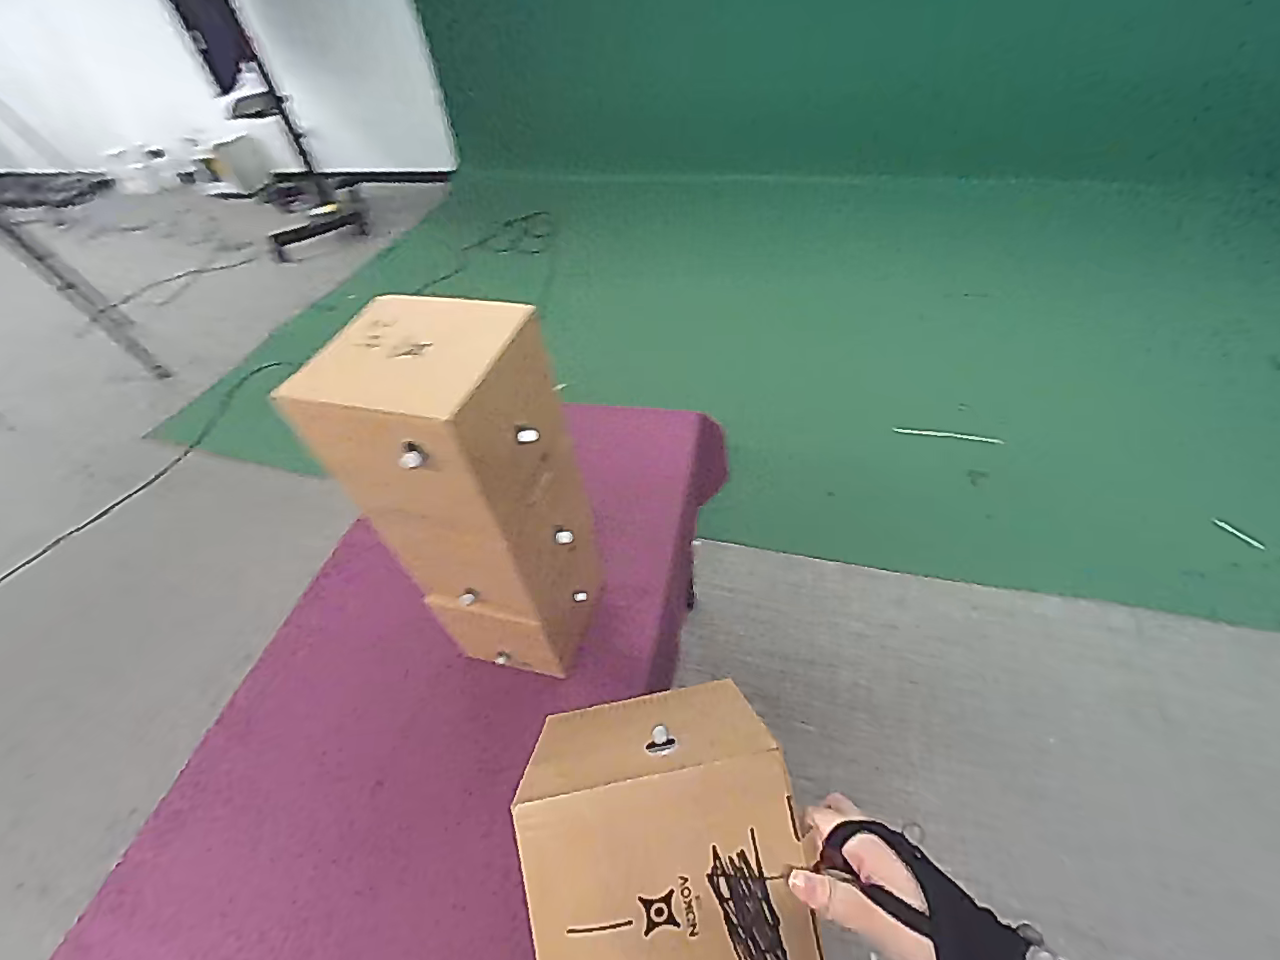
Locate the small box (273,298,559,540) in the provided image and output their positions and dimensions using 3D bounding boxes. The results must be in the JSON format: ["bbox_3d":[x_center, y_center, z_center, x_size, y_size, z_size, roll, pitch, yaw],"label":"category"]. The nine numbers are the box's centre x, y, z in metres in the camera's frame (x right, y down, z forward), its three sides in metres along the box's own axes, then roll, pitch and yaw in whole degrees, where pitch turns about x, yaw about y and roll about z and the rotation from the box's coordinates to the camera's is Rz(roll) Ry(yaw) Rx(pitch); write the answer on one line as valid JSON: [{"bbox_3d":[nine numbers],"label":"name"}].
[{"bbox_3d":[-0.199,-0.059,0.543,0.179,0.176,0.168,8,50,15],"label":"small box"}]

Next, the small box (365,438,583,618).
[{"bbox_3d":[-0.184,0.049,0.667,0.179,0.176,0.168,10,50,15],"label":"small box"}]
